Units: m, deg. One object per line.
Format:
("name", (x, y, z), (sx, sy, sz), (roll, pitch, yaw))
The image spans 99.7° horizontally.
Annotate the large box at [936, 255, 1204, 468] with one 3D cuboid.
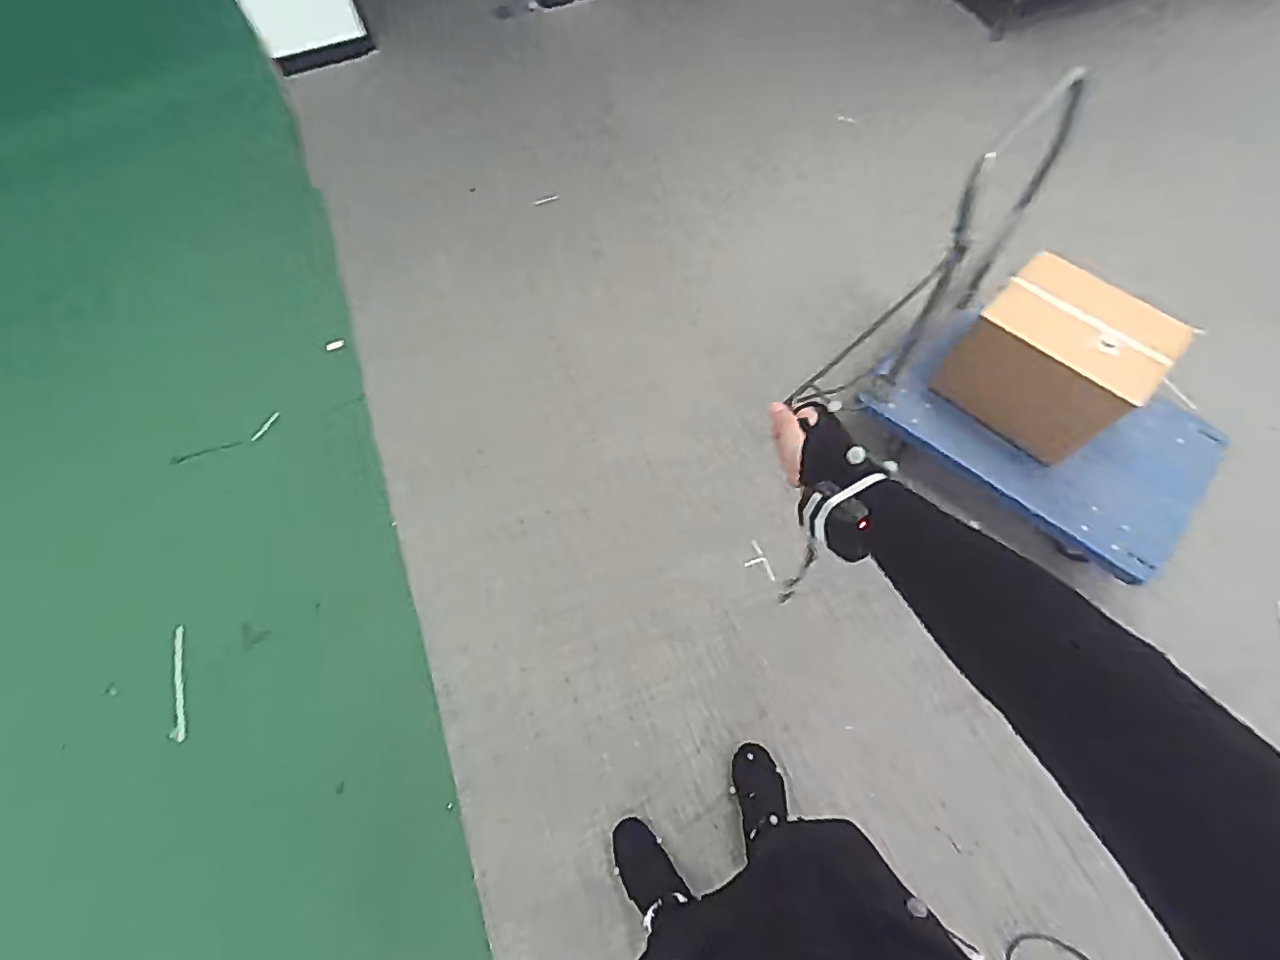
("large box", (1.115, -0.311, 1.452), (0.320, 0.320, 0.408), (-41, 71, -16))
